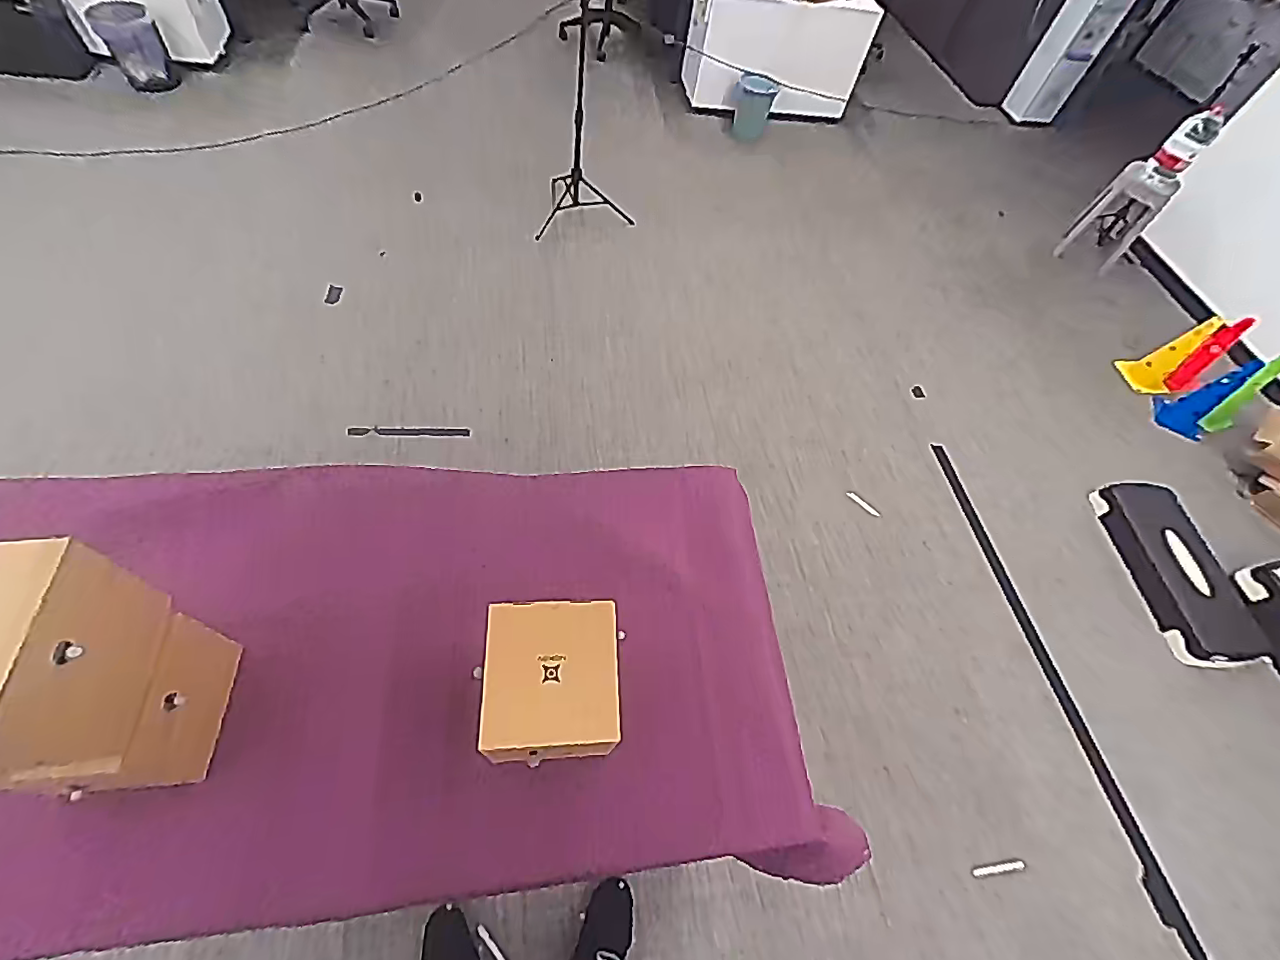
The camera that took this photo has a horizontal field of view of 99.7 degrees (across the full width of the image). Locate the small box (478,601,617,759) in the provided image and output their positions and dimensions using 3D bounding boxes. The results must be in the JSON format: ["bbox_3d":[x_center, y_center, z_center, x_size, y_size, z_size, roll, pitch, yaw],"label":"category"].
[{"bbox_3d":[-0.120,0.278,0.739,0.168,0.176,0.179,0,57,-8],"label":"small box"}]

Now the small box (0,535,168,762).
[{"bbox_3d":[-0.617,0.172,0.527,0.168,0.176,0.179,-3,58,-11],"label":"small box"}]

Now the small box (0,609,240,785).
[{"bbox_3d":[-0.634,0.268,0.659,0.168,0.176,0.179,1,58,-9],"label":"small box"}]
